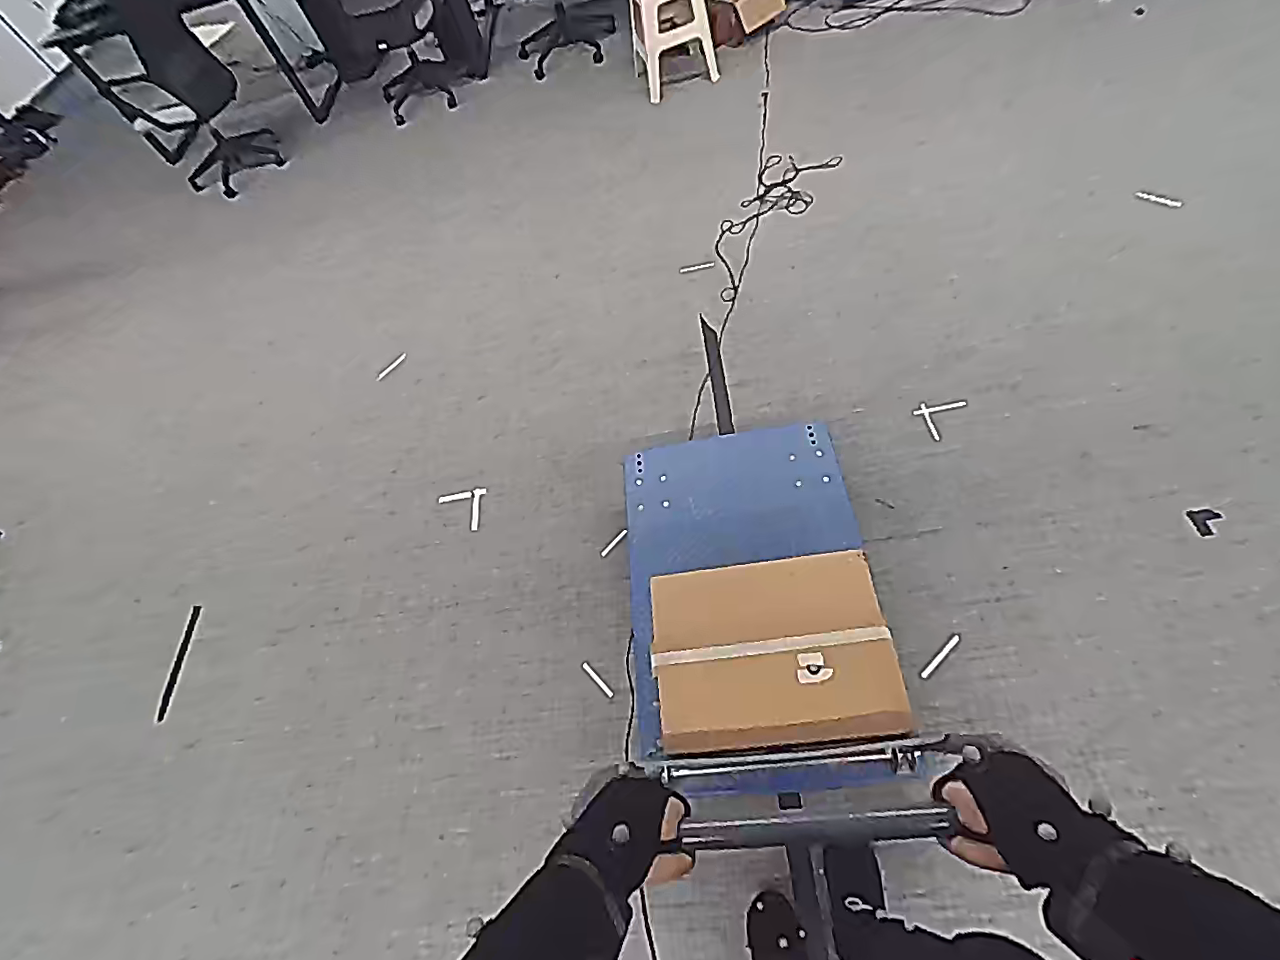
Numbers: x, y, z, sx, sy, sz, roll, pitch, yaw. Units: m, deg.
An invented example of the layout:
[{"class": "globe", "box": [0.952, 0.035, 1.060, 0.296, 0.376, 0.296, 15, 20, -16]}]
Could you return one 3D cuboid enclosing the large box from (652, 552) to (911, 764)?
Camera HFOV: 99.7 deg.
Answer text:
[{"class": "large box", "box": [0.257, 0.373, 1.091, 0.408, 0.320, 0.320, -9, 60, 7]}]
